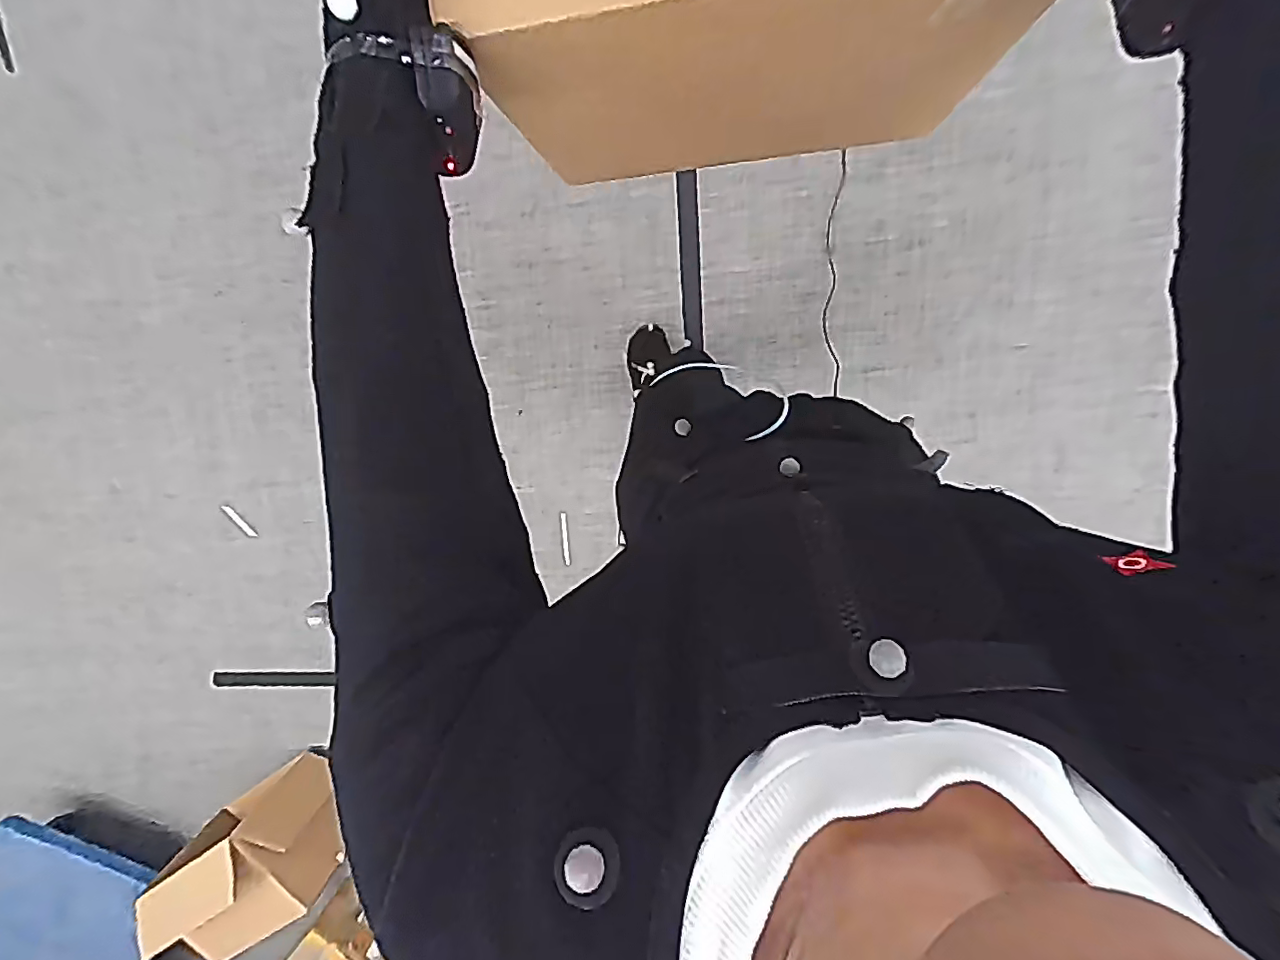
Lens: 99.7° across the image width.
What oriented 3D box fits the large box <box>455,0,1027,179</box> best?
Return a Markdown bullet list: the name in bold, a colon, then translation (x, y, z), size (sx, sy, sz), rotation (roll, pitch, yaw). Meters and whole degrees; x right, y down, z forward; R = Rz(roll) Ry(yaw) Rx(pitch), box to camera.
- **large box**: translation (0.077, -0.484, 0.438), size (0.408, 0.320, 0.320), rotation (-4, 103, 8)
